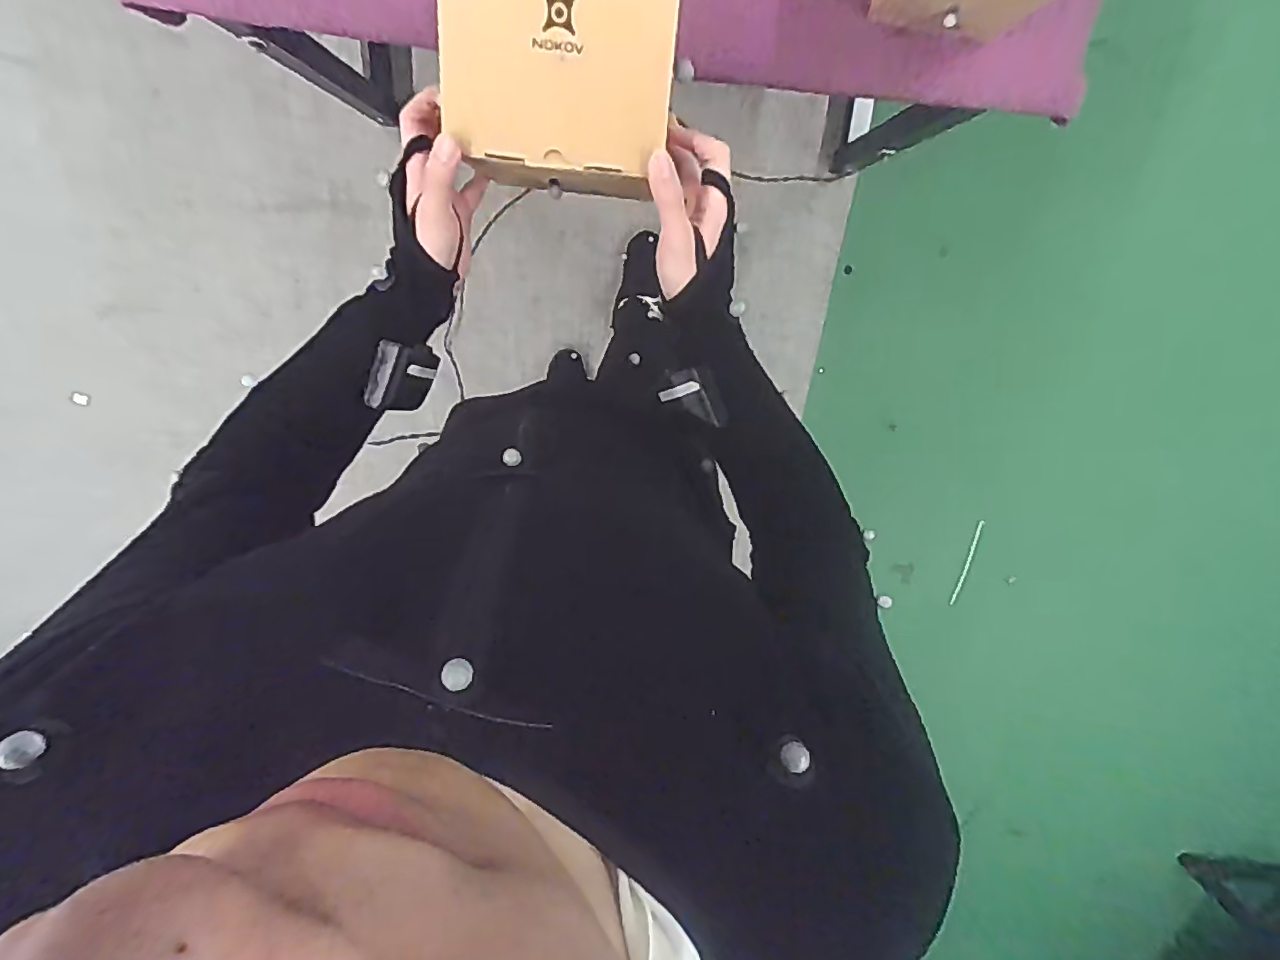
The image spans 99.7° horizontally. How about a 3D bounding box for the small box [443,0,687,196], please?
[{"bbox_3d":[-0.055,-0.346,0.443,0.168,0.176,0.179,5,113,-3],"label":"small box"}]
